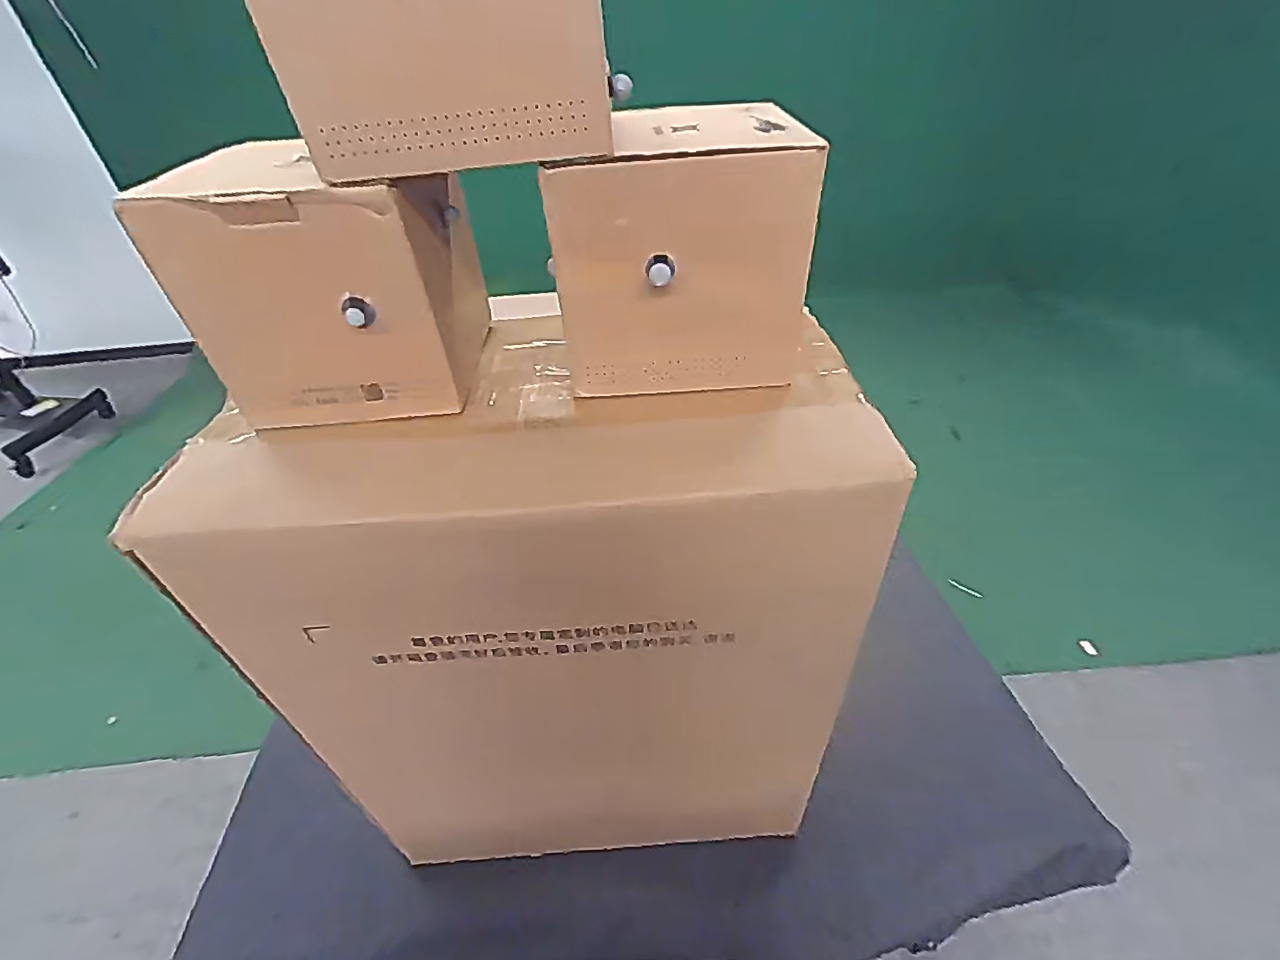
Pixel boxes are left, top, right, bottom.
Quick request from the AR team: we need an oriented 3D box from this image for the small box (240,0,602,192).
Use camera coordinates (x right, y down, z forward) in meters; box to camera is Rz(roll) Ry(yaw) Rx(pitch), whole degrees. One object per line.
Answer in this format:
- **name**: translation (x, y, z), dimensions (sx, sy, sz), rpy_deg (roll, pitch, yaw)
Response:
- **small box**: translation (-0.117, -0.291, 0.328), dimensions (0.179, 0.176, 0.168), rpy_deg (-7, 41, 0)

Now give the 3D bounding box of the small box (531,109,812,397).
- **small box**: translation (0.024, -0.180, 0.437), dimensions (0.179, 0.176, 0.168), rpy_deg (-5, 42, 1)

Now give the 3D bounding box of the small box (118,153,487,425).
- **small box**: translation (-0.232, -0.155, 0.436), dimensions (0.168, 0.176, 0.179), rpy_deg (-4, 40, -2)
